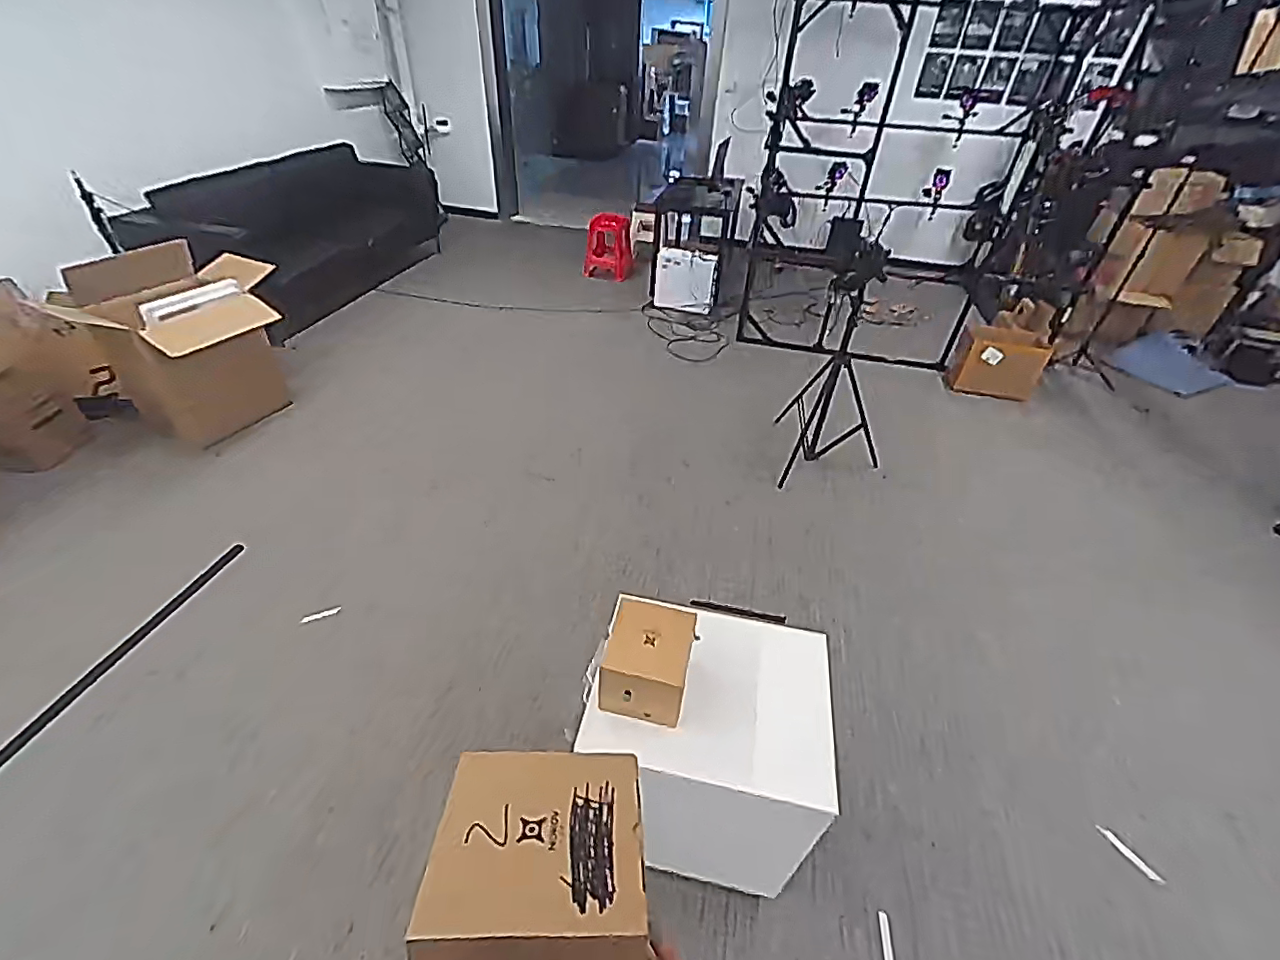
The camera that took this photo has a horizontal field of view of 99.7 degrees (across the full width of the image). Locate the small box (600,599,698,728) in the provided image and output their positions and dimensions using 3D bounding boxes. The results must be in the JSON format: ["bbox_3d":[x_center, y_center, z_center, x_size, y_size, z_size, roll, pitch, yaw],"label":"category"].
[{"bbox_3d":[0.019,0.380,1.115,0.168,0.176,0.179,11,39,8],"label":"small box"}]
